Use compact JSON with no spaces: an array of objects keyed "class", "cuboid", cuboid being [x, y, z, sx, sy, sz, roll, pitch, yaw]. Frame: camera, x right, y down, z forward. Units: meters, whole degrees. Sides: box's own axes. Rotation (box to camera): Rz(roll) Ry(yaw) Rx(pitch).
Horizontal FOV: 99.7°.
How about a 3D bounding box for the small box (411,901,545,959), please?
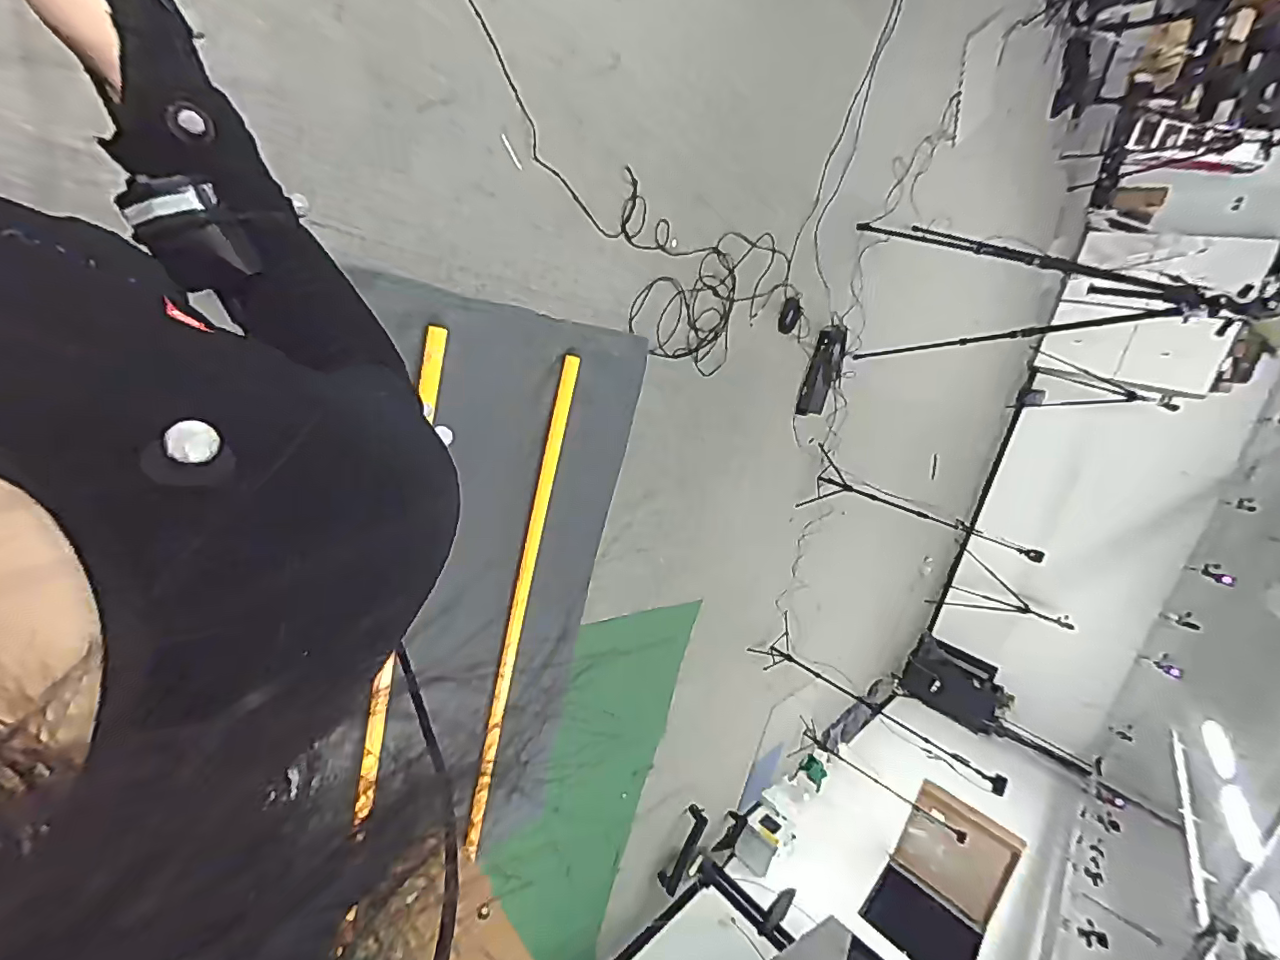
[{"class":"small box","cuboid":[-0.292,0.880,0.931,0.168,0.176,0.179,5,105,-49]}]
